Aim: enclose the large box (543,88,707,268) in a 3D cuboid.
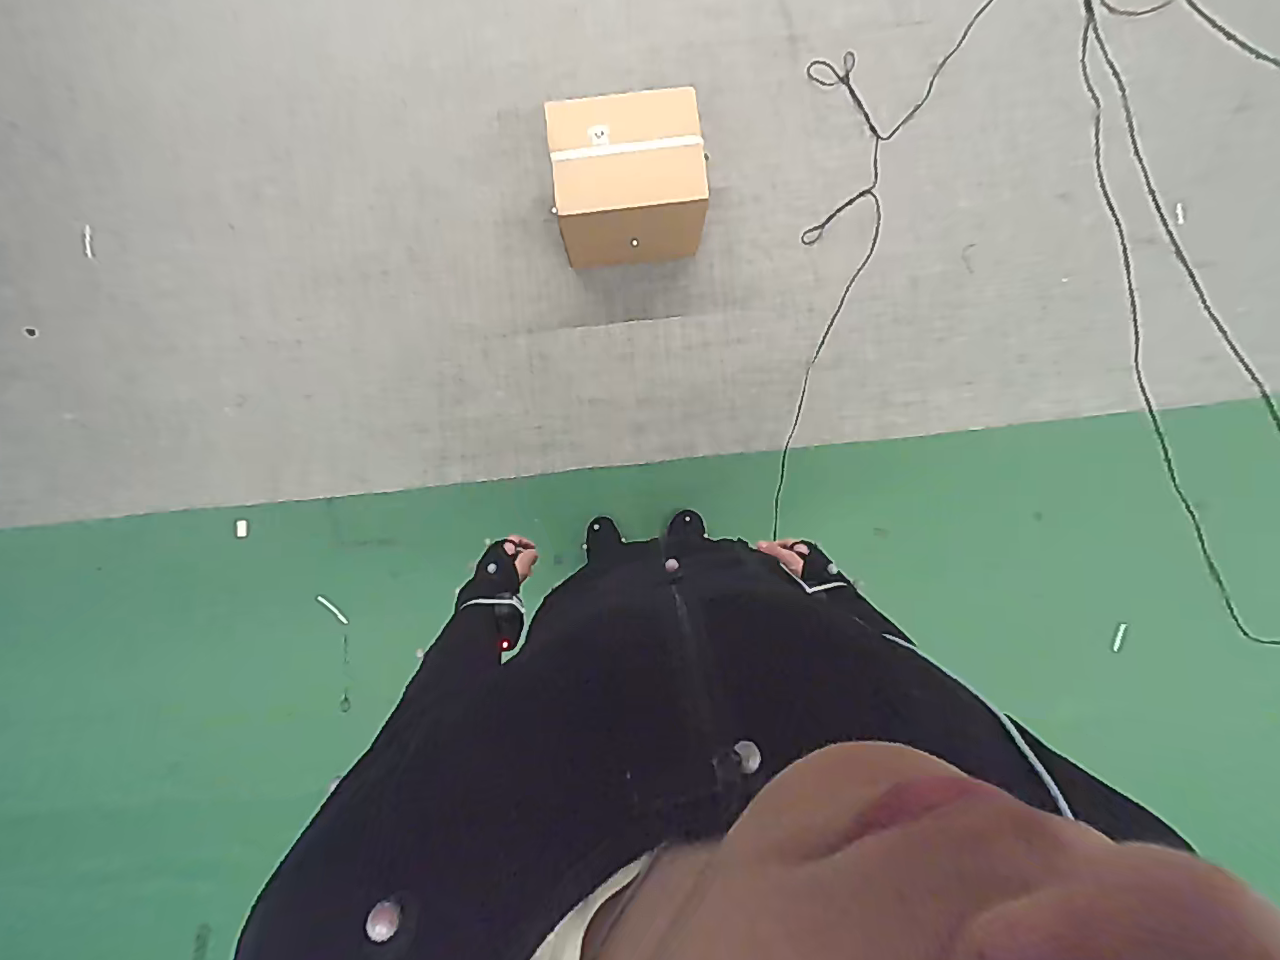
[{"bbox_3d":[-0.038,-0.856,1.577,0.408,0.320,0.320,-8,86,0],"label":"large box"}]
